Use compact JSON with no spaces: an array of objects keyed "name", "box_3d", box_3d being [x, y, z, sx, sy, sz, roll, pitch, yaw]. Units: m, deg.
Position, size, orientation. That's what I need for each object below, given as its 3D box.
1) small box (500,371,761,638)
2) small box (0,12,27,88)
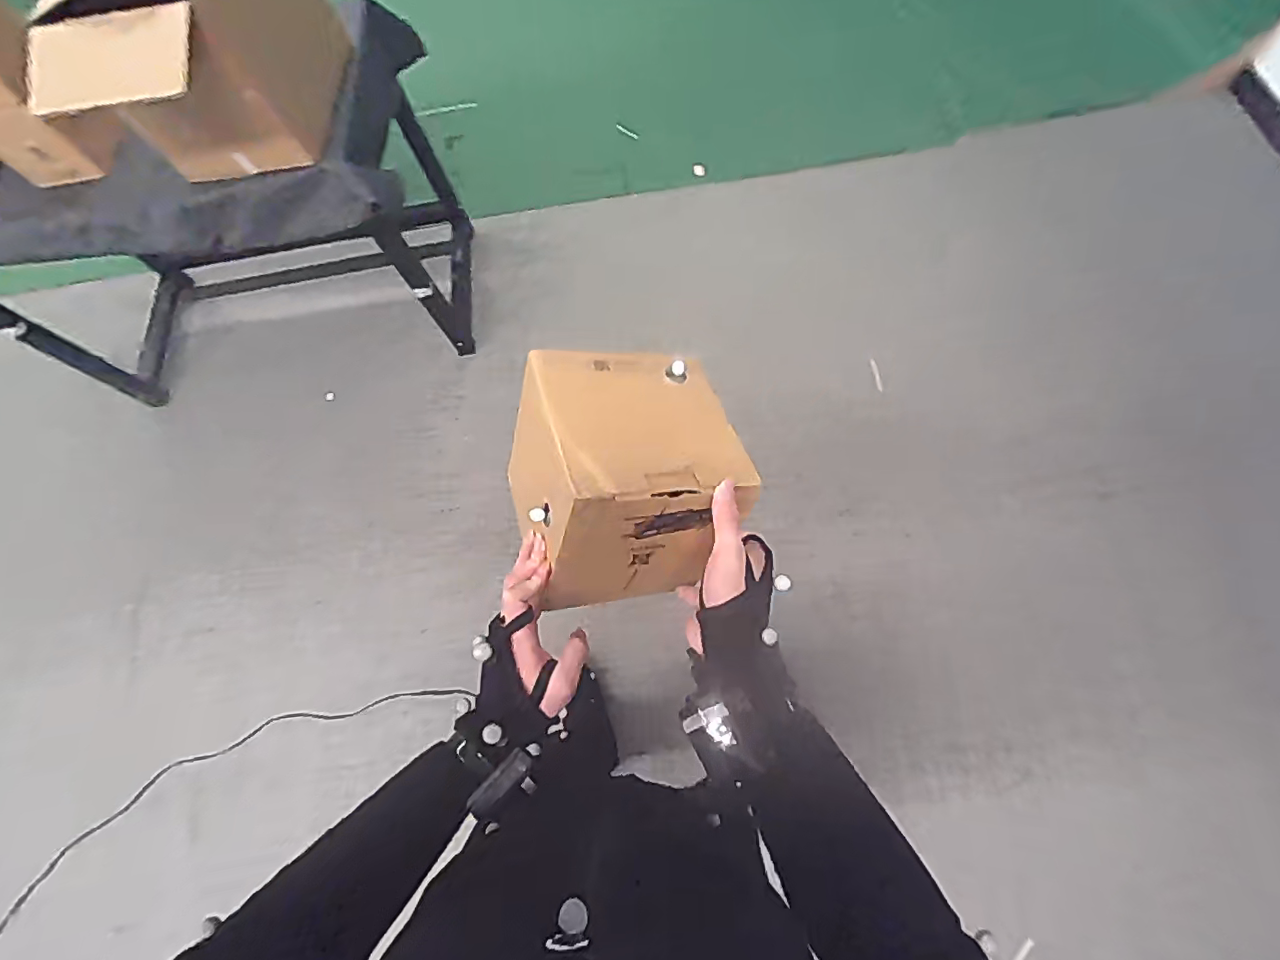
[{"name":"small box","box_3d":[-0.027,0.017,0.492,0.168,0.179,0.176,-5,54,-24]},{"name":"small box","box_3d":[-1.312,-0.837,0.994,0.168,0.176,0.179,-7,68,3]}]
